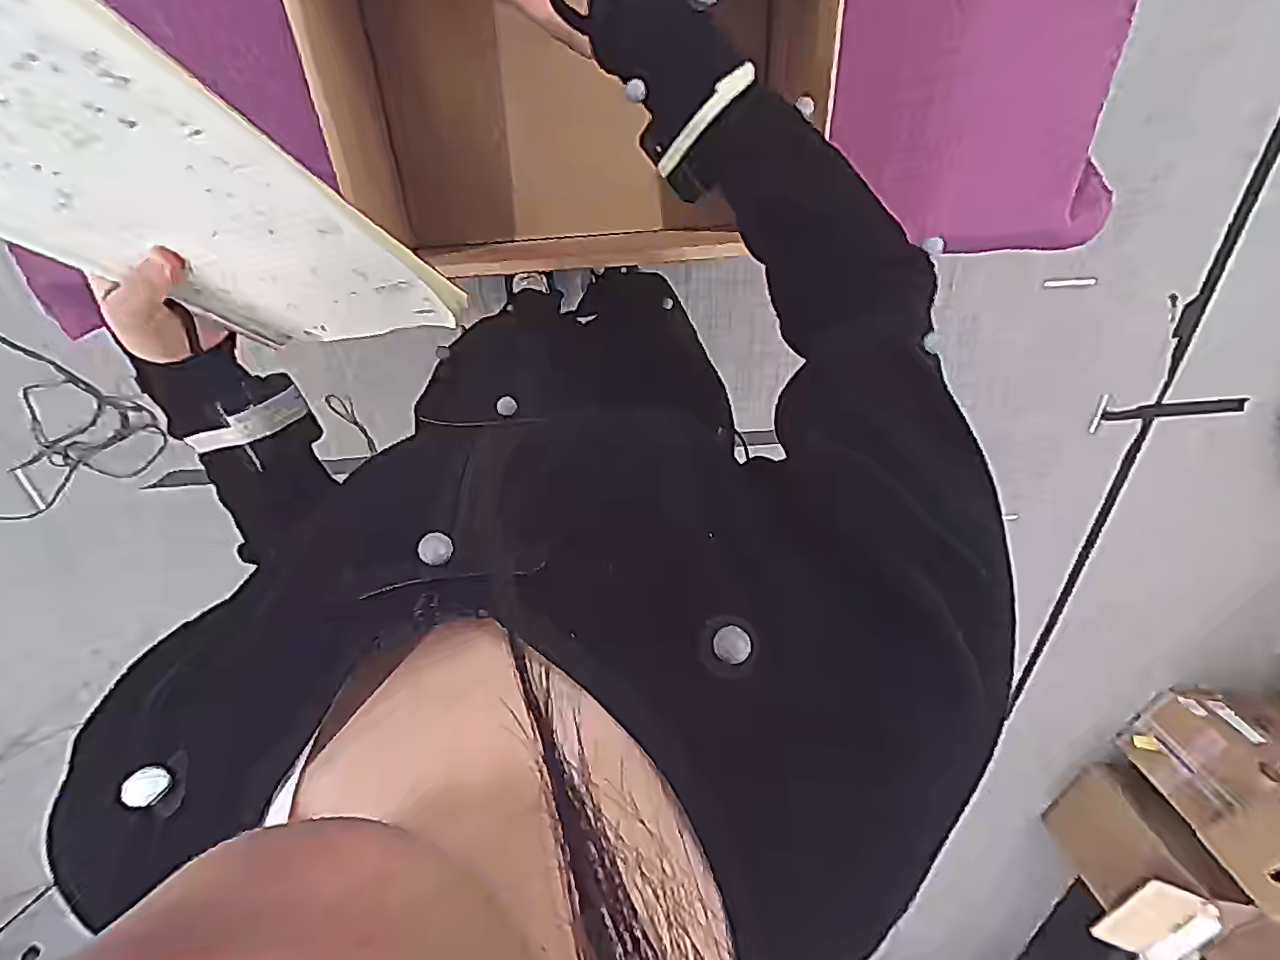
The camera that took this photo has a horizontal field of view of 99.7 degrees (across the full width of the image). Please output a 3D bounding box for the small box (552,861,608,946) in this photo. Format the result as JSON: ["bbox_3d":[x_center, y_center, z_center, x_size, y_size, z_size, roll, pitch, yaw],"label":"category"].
[{"bbox_3d":[-0.200,1.410,1.806,0.179,0.176,0.168,-3,122,-8],"label":"small box"}]
